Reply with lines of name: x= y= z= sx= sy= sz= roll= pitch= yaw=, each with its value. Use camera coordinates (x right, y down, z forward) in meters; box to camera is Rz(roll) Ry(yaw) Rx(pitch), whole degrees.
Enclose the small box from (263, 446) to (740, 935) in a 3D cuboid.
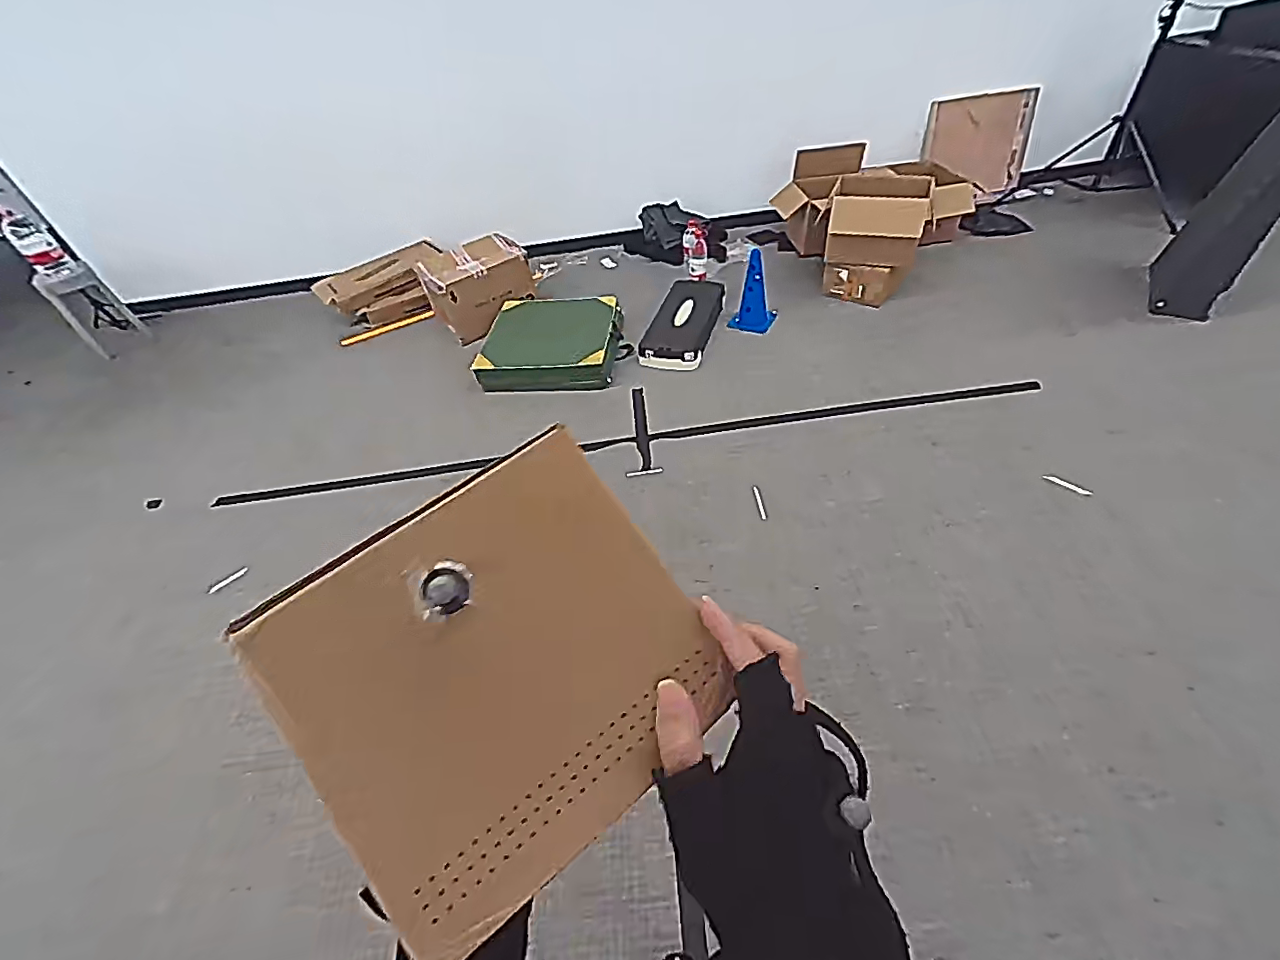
small box: x=-0.072 y=0.114 z=0.335 sx=0.179 sy=0.168 sz=0.176 roll=-33 pitch=83 yaw=-20
